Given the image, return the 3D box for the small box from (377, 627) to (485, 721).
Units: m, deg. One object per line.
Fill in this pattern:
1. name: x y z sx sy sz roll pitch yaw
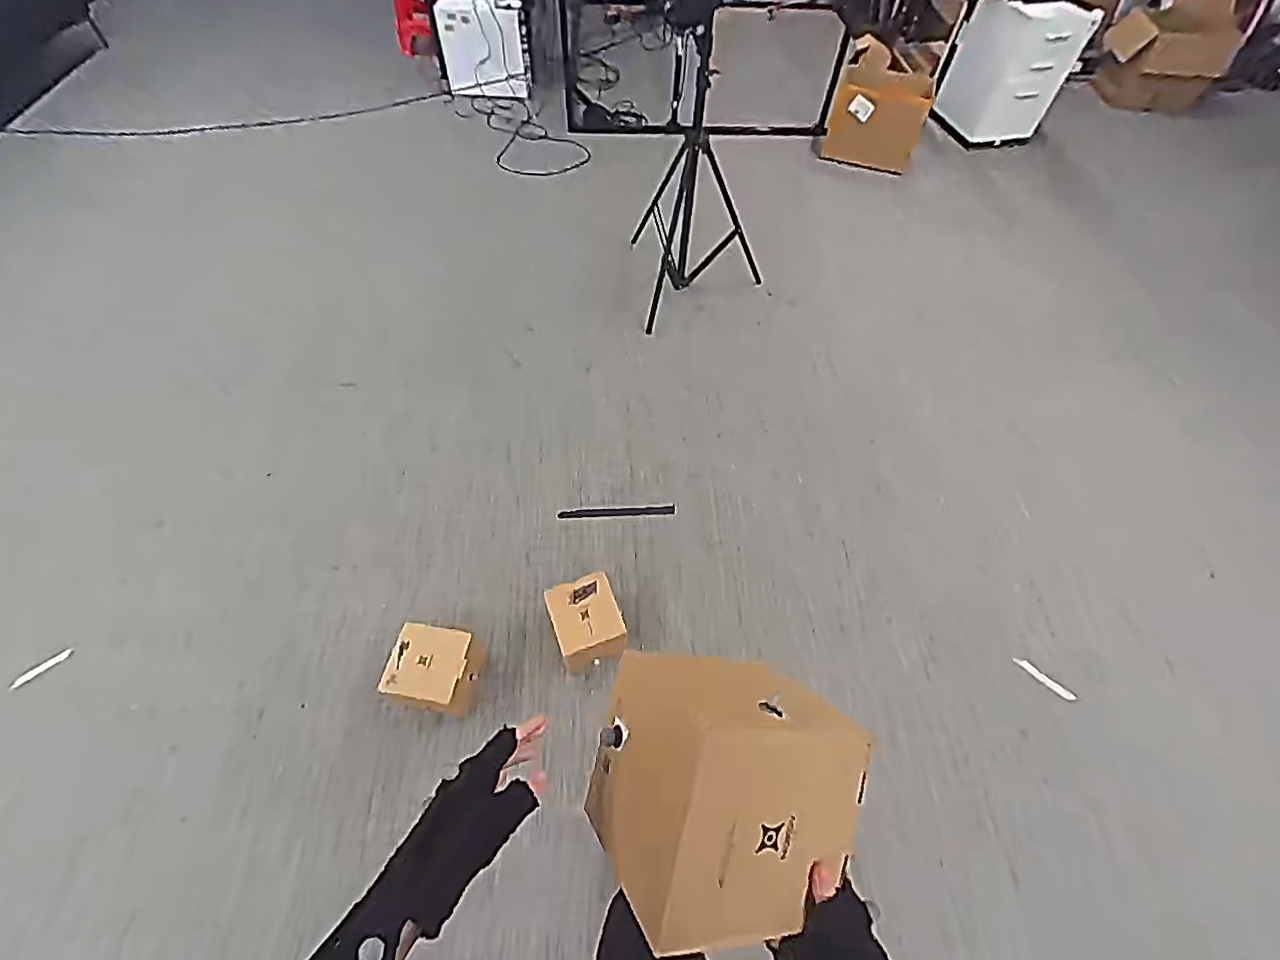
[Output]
1. small box: -0.497 0.478 1.322 0.179 0.176 0.168 9 56 4

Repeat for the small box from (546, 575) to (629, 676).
1. small box: -0.137 0.379 1.399 0.168 0.176 0.179 -18 59 -13
